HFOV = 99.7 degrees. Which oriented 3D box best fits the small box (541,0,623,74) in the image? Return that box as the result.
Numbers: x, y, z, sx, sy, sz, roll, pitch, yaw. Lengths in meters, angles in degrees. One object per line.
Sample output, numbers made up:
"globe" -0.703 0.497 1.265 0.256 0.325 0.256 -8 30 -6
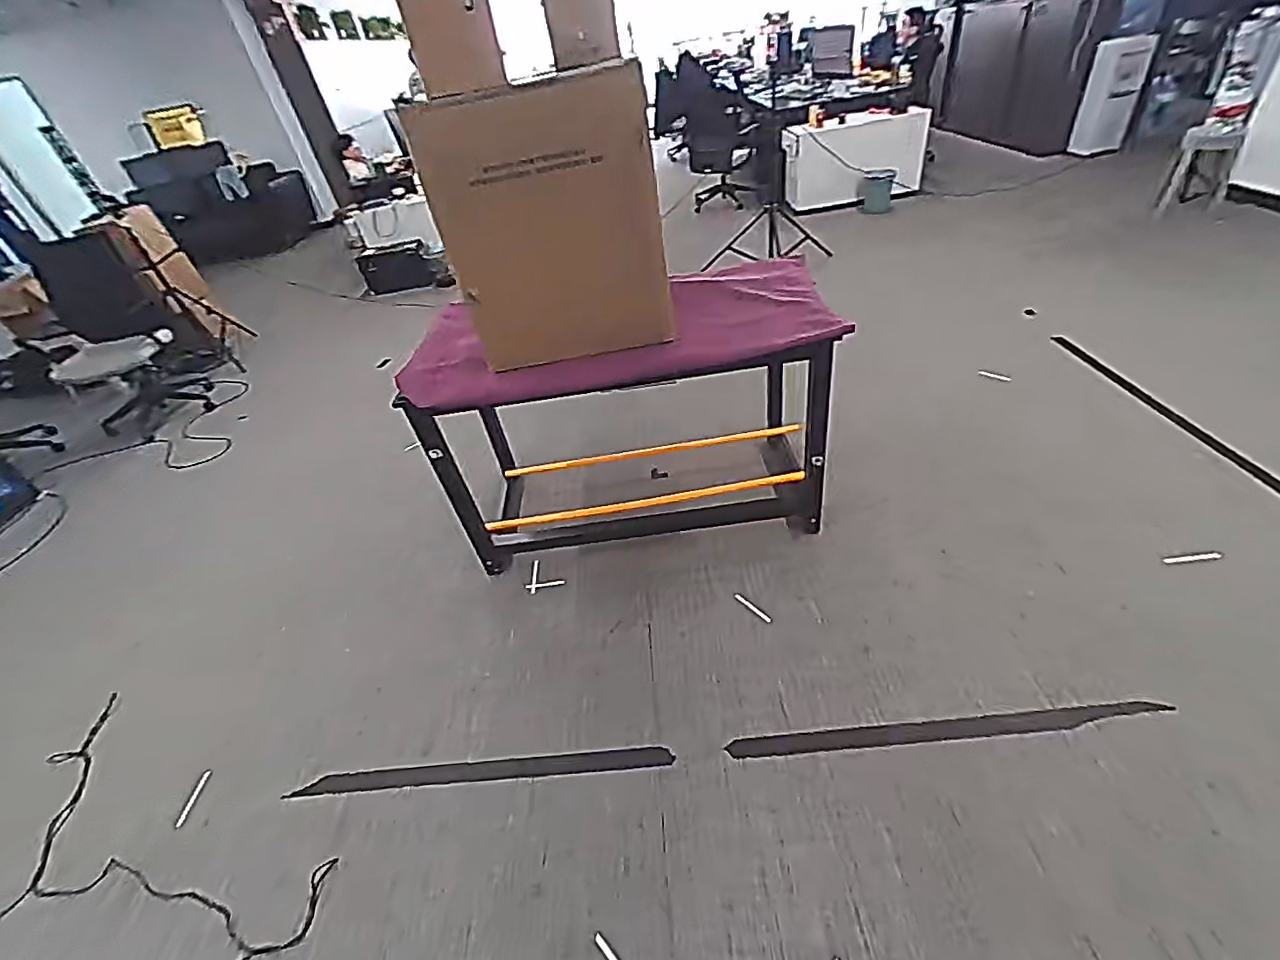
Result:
"small box" -0.135 -1.081 1.281 0.168 0.176 0.179 -9 39 4
